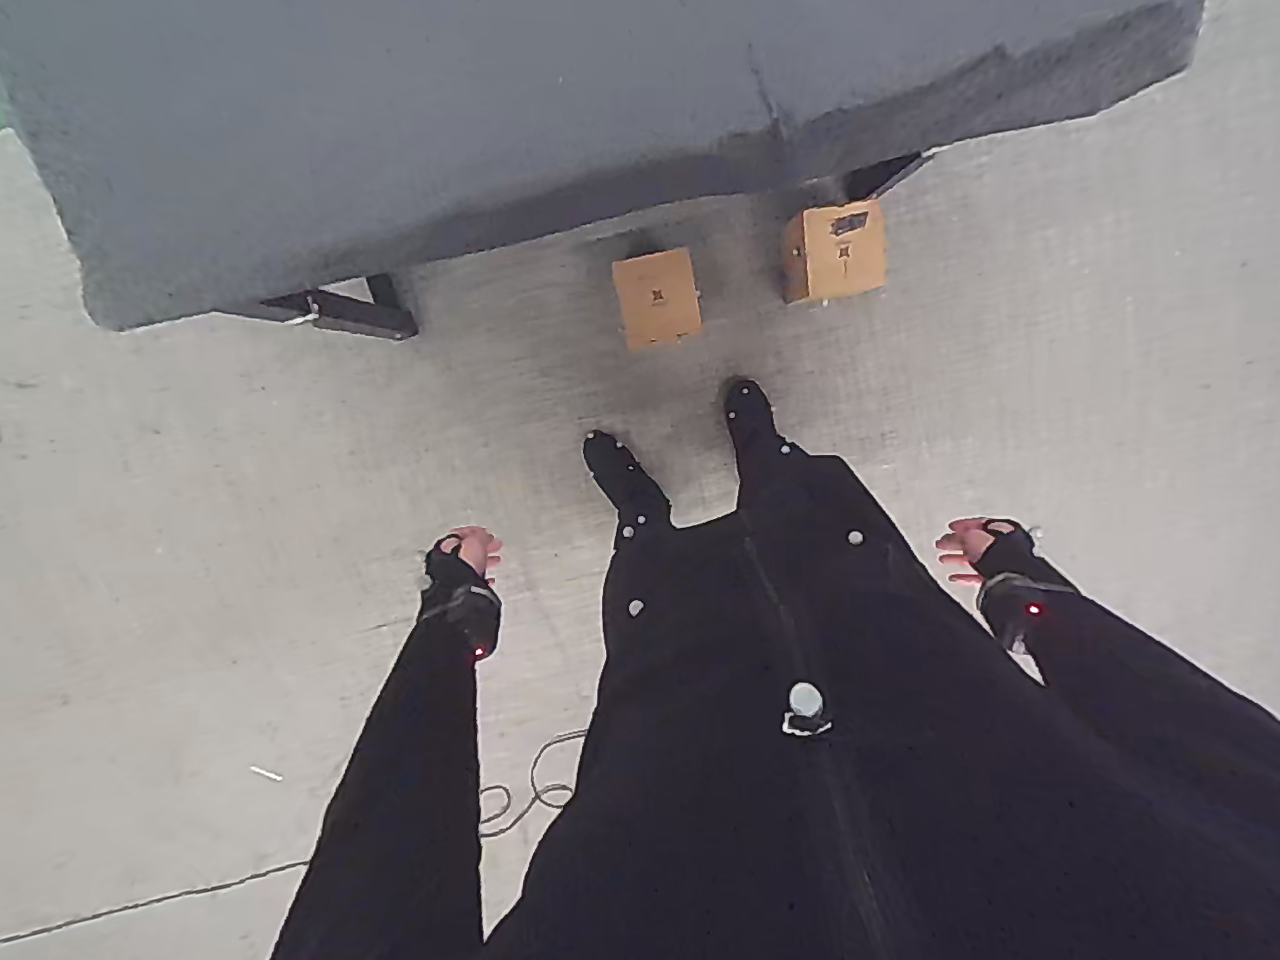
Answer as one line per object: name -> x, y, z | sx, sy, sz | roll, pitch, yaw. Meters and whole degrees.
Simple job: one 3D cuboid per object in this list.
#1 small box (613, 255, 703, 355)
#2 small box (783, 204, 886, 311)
small box -> 0.040, -0.387, 1.232 | 0.168, 0.176, 0.179 | -13, 98, 1
small box -> 0.429, -0.490, 1.212 | 0.168, 0.176, 0.179 | -9, 101, 1
